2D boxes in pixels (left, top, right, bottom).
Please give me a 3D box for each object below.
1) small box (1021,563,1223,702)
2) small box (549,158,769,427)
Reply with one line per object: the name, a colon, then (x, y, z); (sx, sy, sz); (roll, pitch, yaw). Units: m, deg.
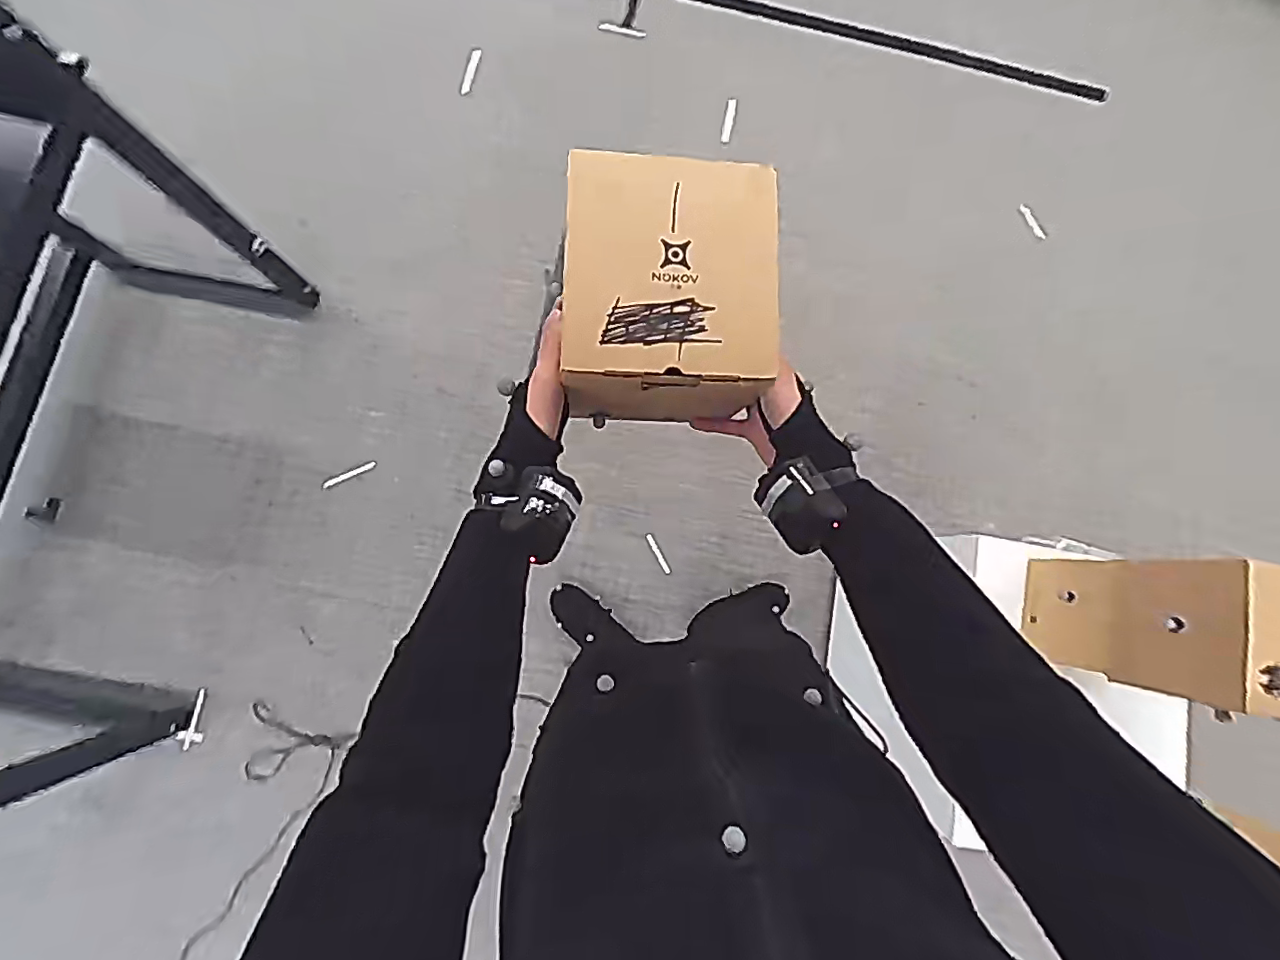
small box: (0.745, 0.230, 0.852); (0.179, 0.176, 0.168); (12, 82, -3)
small box: (0.010, -0.147, 0.483); (0.168, 0.176, 0.179); (1, 84, -6)
